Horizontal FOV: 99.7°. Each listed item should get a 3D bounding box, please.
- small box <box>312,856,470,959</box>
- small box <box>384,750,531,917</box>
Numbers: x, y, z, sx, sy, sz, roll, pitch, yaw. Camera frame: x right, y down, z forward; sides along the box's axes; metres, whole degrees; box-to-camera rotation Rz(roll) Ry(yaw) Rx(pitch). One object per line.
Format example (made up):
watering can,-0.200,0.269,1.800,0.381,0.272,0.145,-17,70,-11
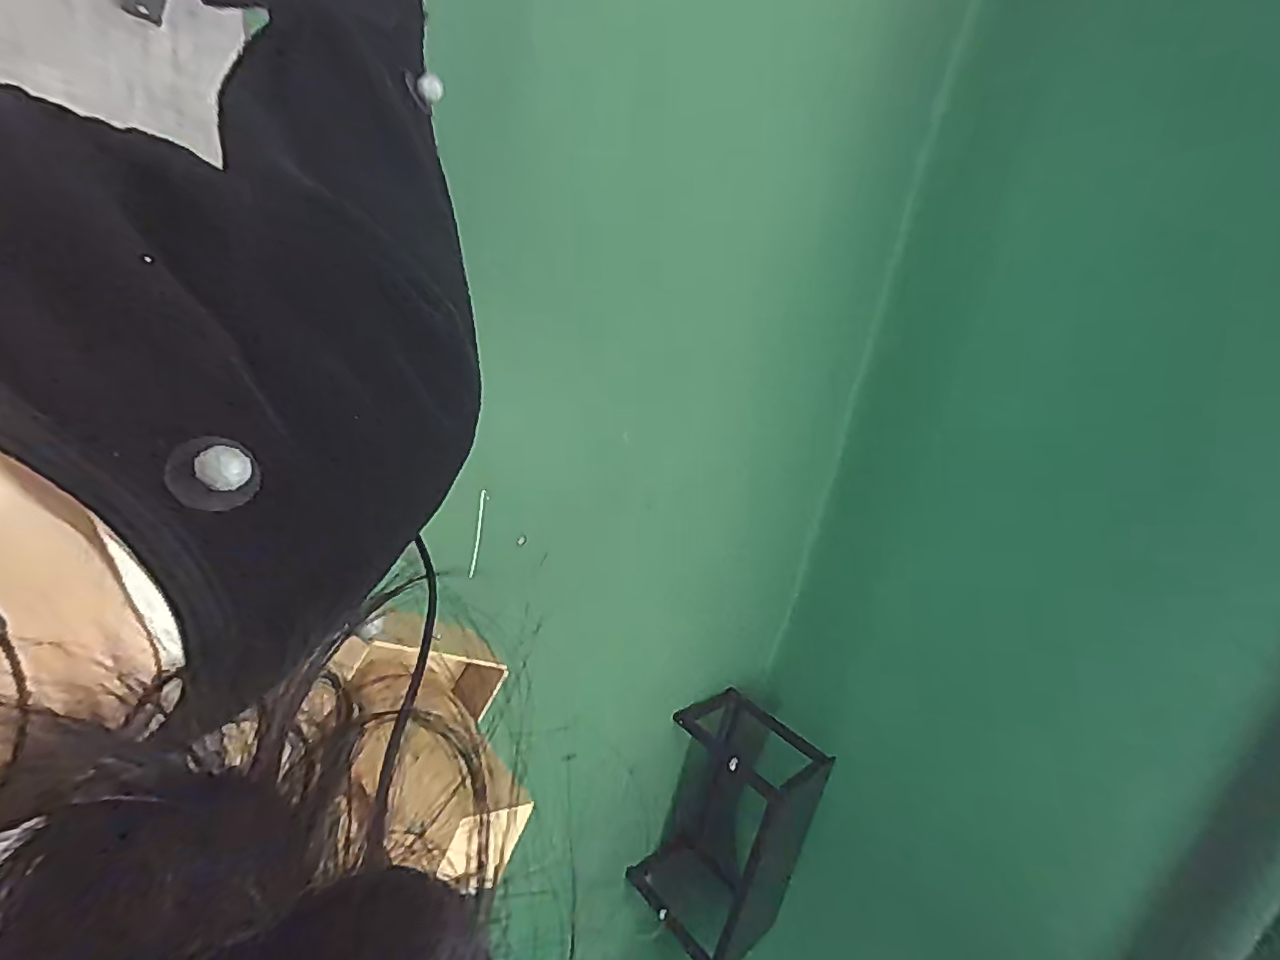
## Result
small box,-0.447,0.804,0.964,0.168,0.176,0.179,36,79,-47
small box,-0.338,0.629,0.986,0.168,0.176,0.179,26,89,-49
